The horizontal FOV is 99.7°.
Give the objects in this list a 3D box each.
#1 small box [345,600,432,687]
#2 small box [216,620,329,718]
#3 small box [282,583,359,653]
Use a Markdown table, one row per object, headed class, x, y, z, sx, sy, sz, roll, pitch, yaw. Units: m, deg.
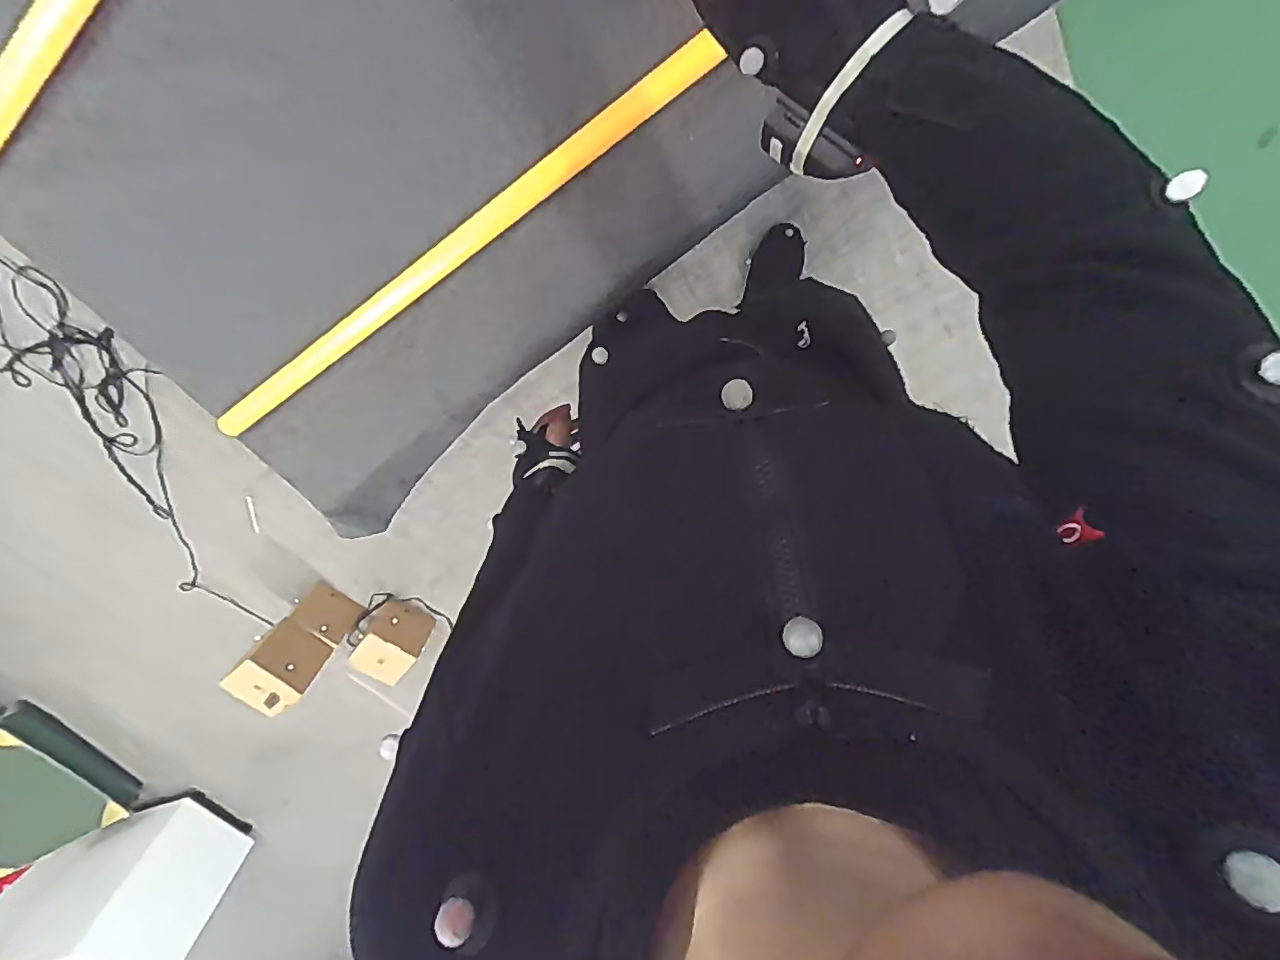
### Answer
| class | x | y | z | sx | sy | sz | roll | pitch | yaw |
| --- | --- | --- | --- | --- | --- | --- | --- | --- | --- |
| small box | -0.793 | 0.518 | 1.727 | 0.168 | 0.176 | 0.179 | 37 | 116 | -16 |
| small box | -1.046 | 0.540 | 1.557 | 0.168 | 0.176 | 0.179 | -35 | 112 | 20 |
| small box | -1.028 | 0.462 | 1.702 | 0.179 | 0.176 | 0.168 | -40 | 110 | 22 |
